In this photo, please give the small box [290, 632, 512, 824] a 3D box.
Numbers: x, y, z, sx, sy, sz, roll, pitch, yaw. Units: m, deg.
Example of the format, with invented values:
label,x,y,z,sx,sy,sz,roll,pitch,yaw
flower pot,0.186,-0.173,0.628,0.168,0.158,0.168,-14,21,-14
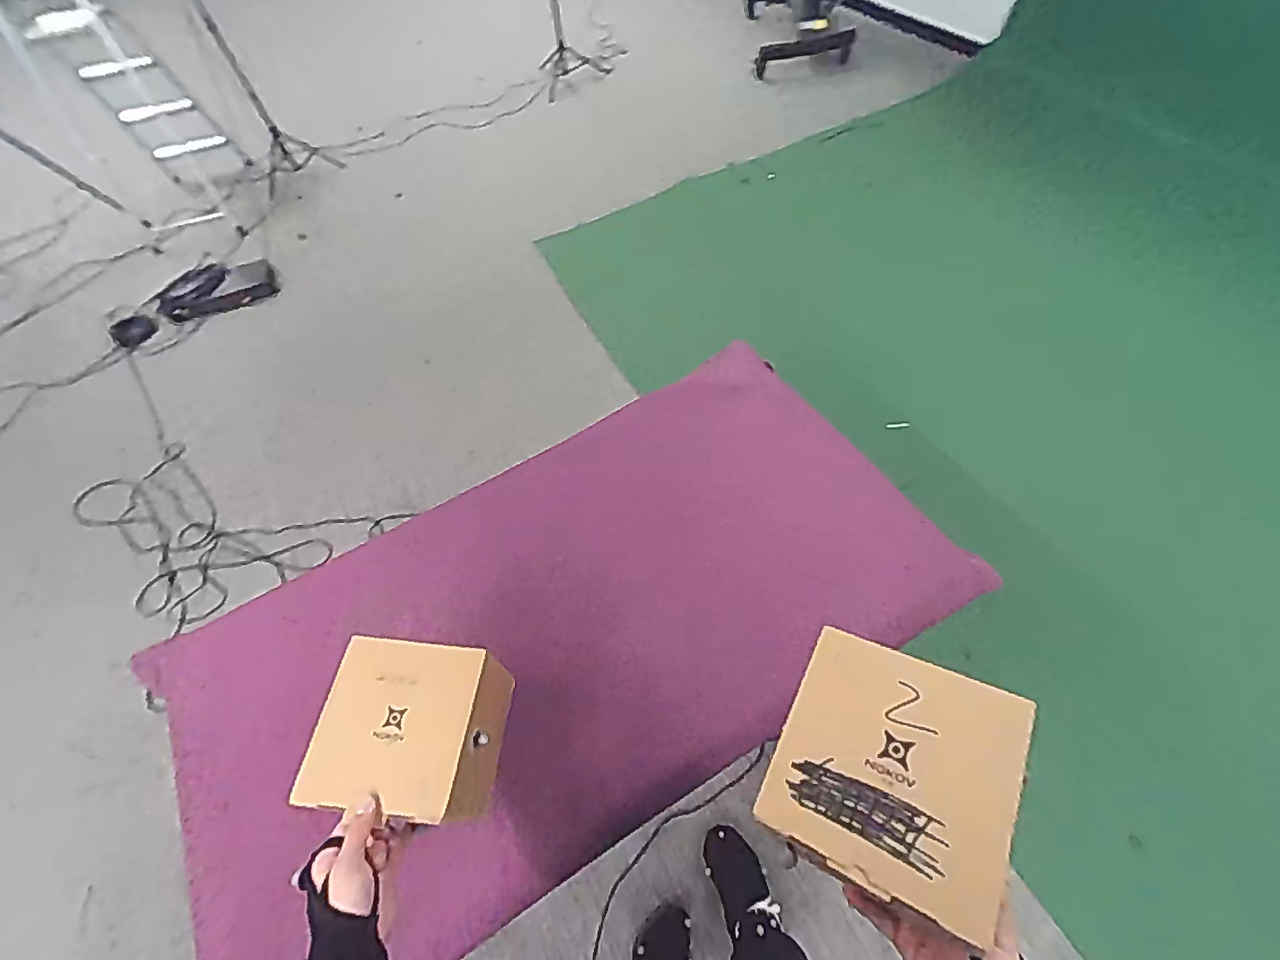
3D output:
label,x,y,z,sx,sy,sz,roll,pitch,yaw
small box,-0.266,0.303,0.657,0.168,0.176,0.179,6,58,5
